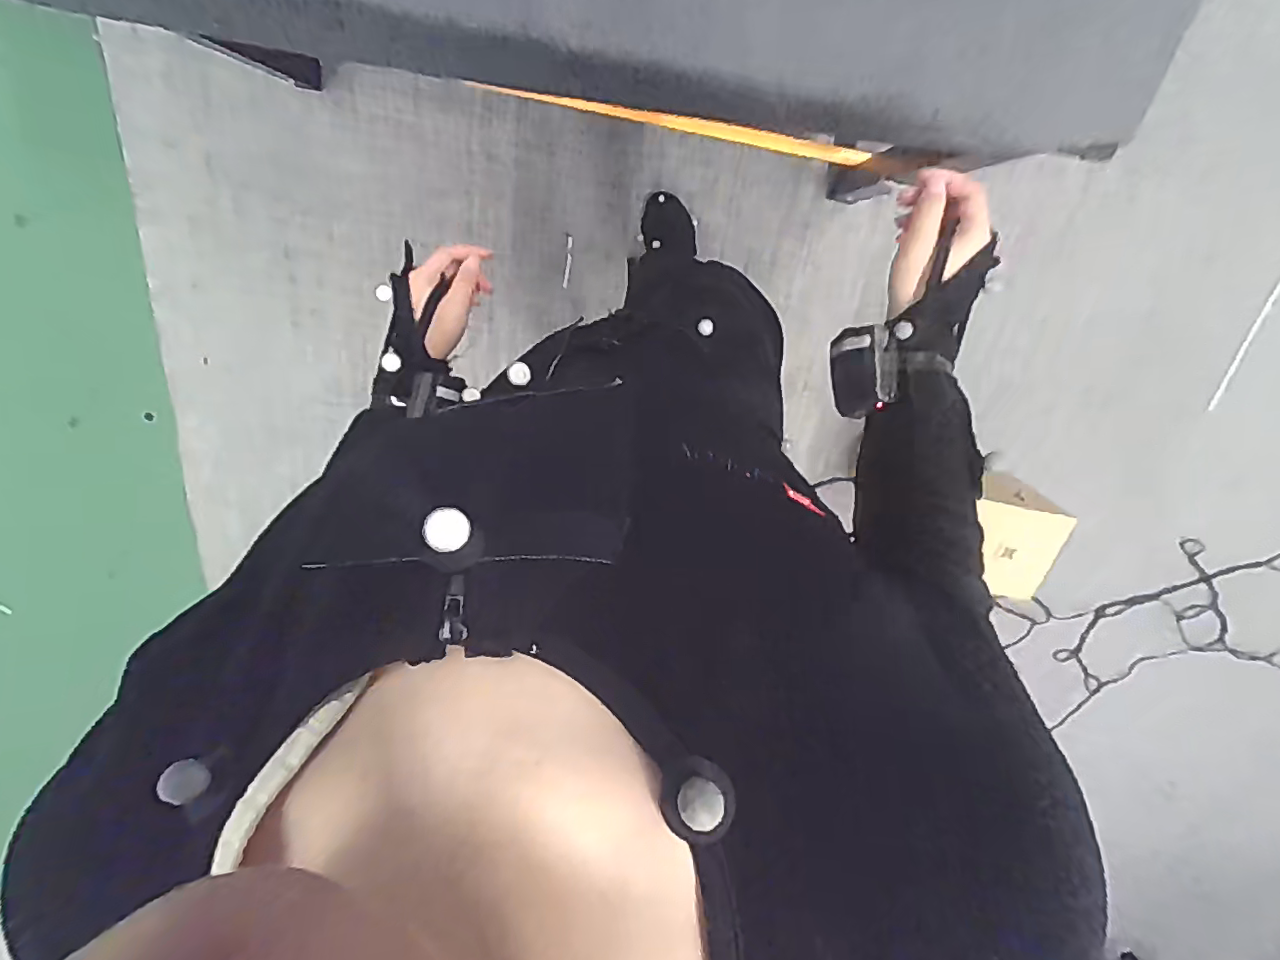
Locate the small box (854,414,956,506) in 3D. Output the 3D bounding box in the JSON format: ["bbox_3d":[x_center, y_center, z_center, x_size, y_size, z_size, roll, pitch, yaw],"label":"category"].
[{"bbox_3d":[0.624,-0.036,1.268,0.168,0.176,0.179,13,114,-2],"label":"small box"}]

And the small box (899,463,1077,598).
[{"bbox_3d":[0.603,0.083,0.963,0.179,0.176,0.168,11,113,-2],"label":"small box"}]
